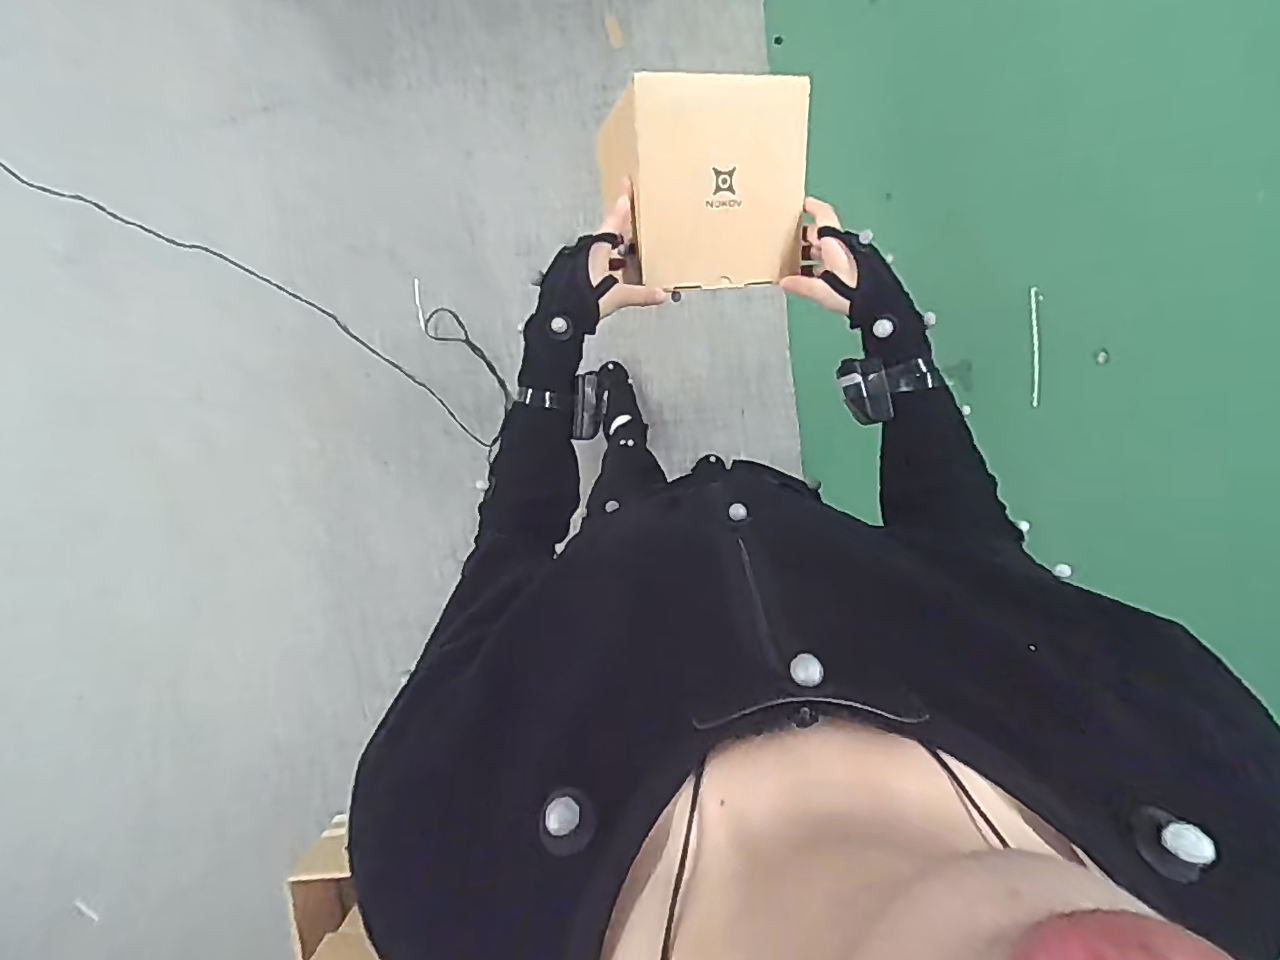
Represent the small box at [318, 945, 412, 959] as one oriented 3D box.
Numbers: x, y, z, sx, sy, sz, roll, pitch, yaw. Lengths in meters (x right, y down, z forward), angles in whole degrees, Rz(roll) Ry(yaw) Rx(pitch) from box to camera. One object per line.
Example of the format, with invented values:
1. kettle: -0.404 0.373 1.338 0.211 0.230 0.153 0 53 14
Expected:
1. small box: -0.503 0.941 0.919 0.179 0.176 0.168 -1 94 3
